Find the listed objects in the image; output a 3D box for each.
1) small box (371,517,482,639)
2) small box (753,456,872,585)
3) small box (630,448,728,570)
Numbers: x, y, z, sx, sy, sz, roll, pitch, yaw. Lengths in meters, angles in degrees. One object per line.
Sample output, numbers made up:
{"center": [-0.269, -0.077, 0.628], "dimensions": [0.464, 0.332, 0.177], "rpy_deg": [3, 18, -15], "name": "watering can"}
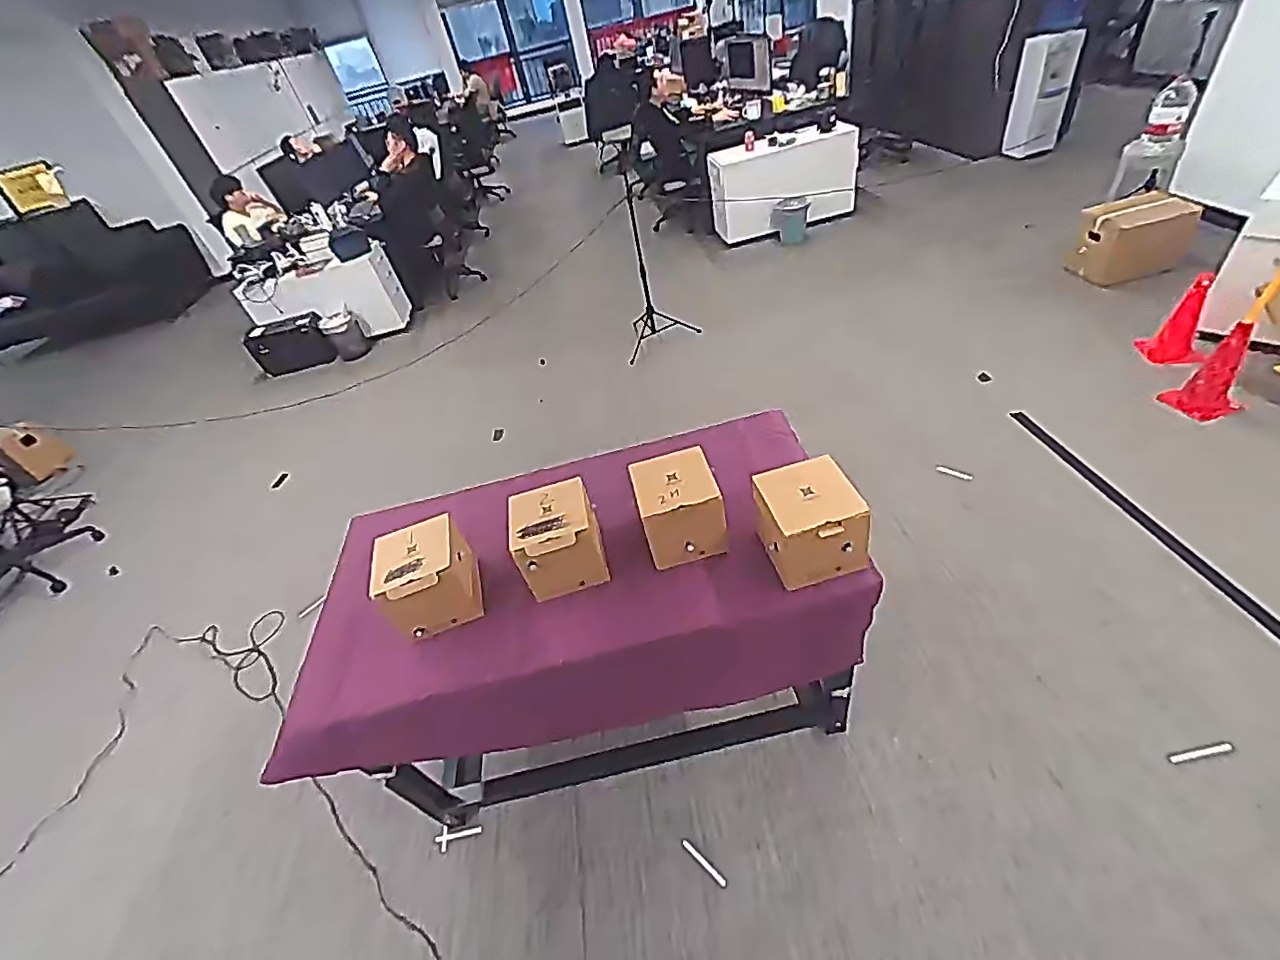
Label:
{"center": [-0.452, 0.217, 1.163], "dimensions": [0.168, 0.176, 0.179], "rpy_deg": [-21, 41, -6], "name": "small box"}
{"center": [0.336, 0.086, 1.068], "dimensions": [0.168, 0.176, 0.179], "rpy_deg": [-16, 40, -1], "name": "small box"}
{"center": [0.084, 0.063, 1.170], "dimensions": [0.168, 0.176, 0.179], "rpy_deg": [-16, 42, 0], "name": "small box"}
